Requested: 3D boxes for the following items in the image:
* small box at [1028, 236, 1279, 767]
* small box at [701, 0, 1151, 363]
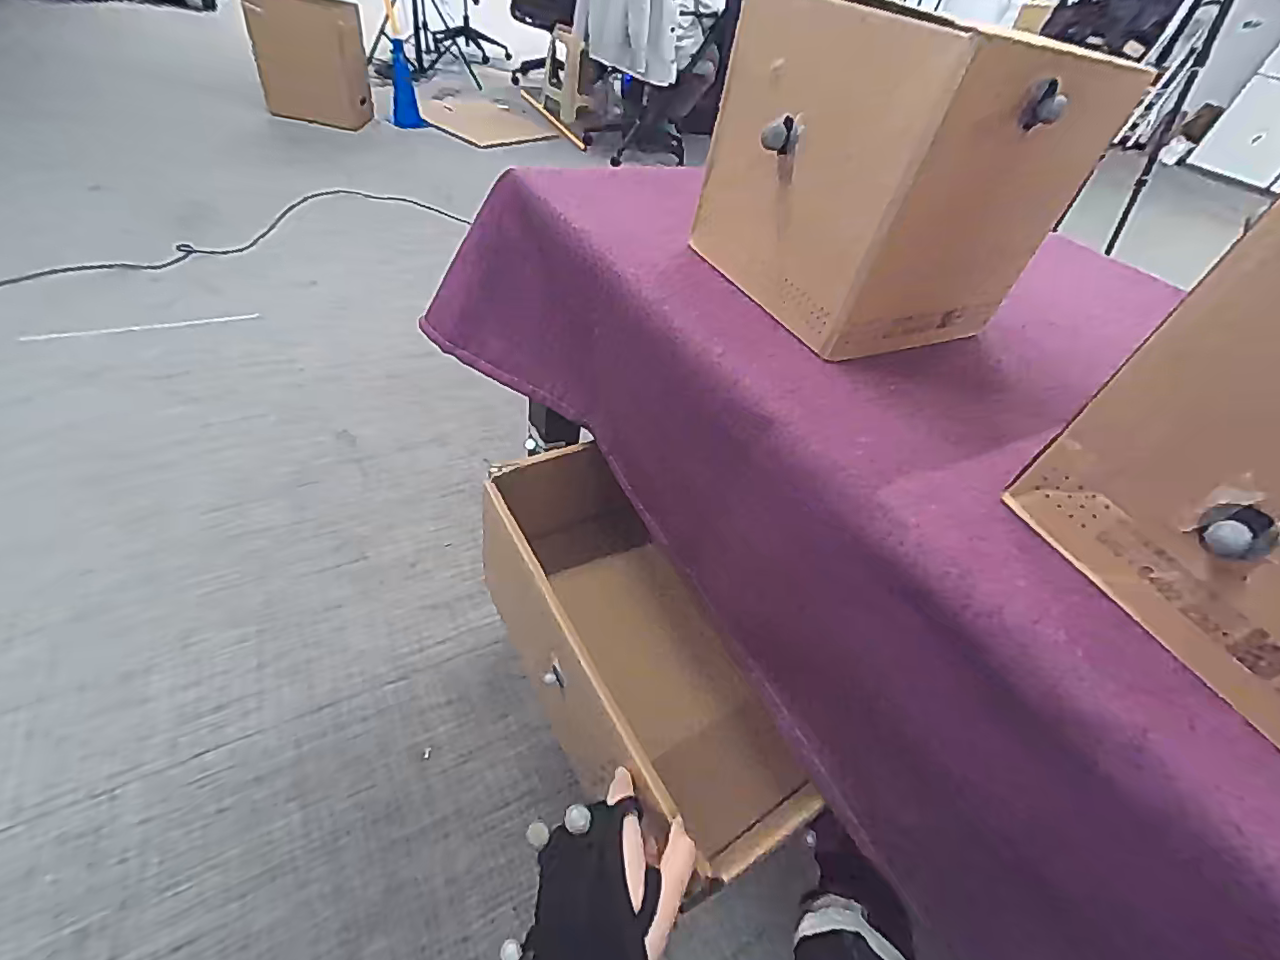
[{"bbox_3d":[0.307,-0.002,0.204,0.179,0.176,0.168,-12,49,-22],"label":"small box"},{"bbox_3d":[0.163,-0.203,0.370,0.168,0.176,0.179,-15,50,-25],"label":"small box"}]
